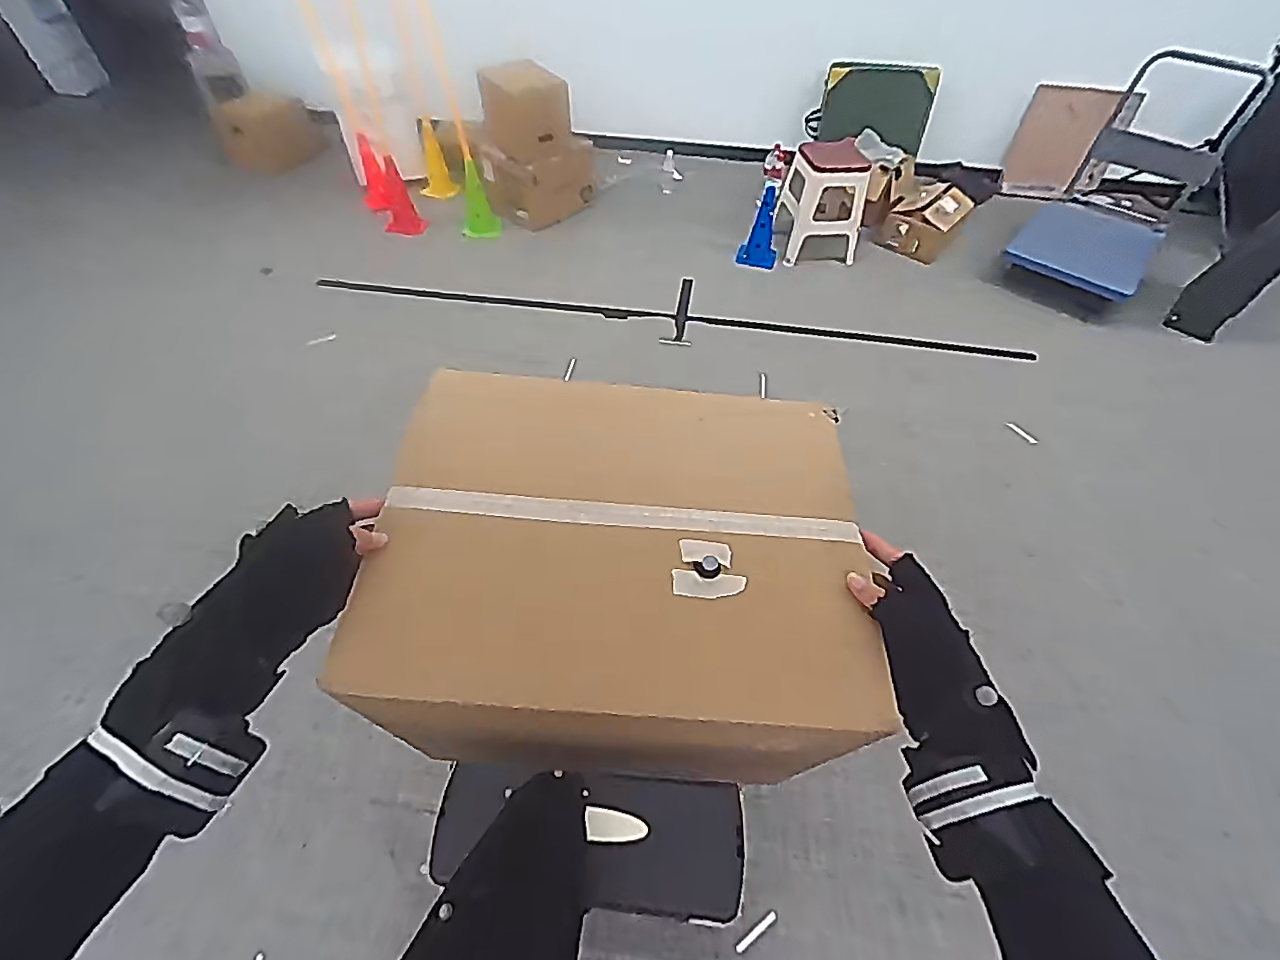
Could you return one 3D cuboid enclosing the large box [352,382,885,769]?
[{"bbox_3d":[-0.020,0.121,0.601,0.408,0.320,0.320,5,55,-2],"label":"large box"}]
